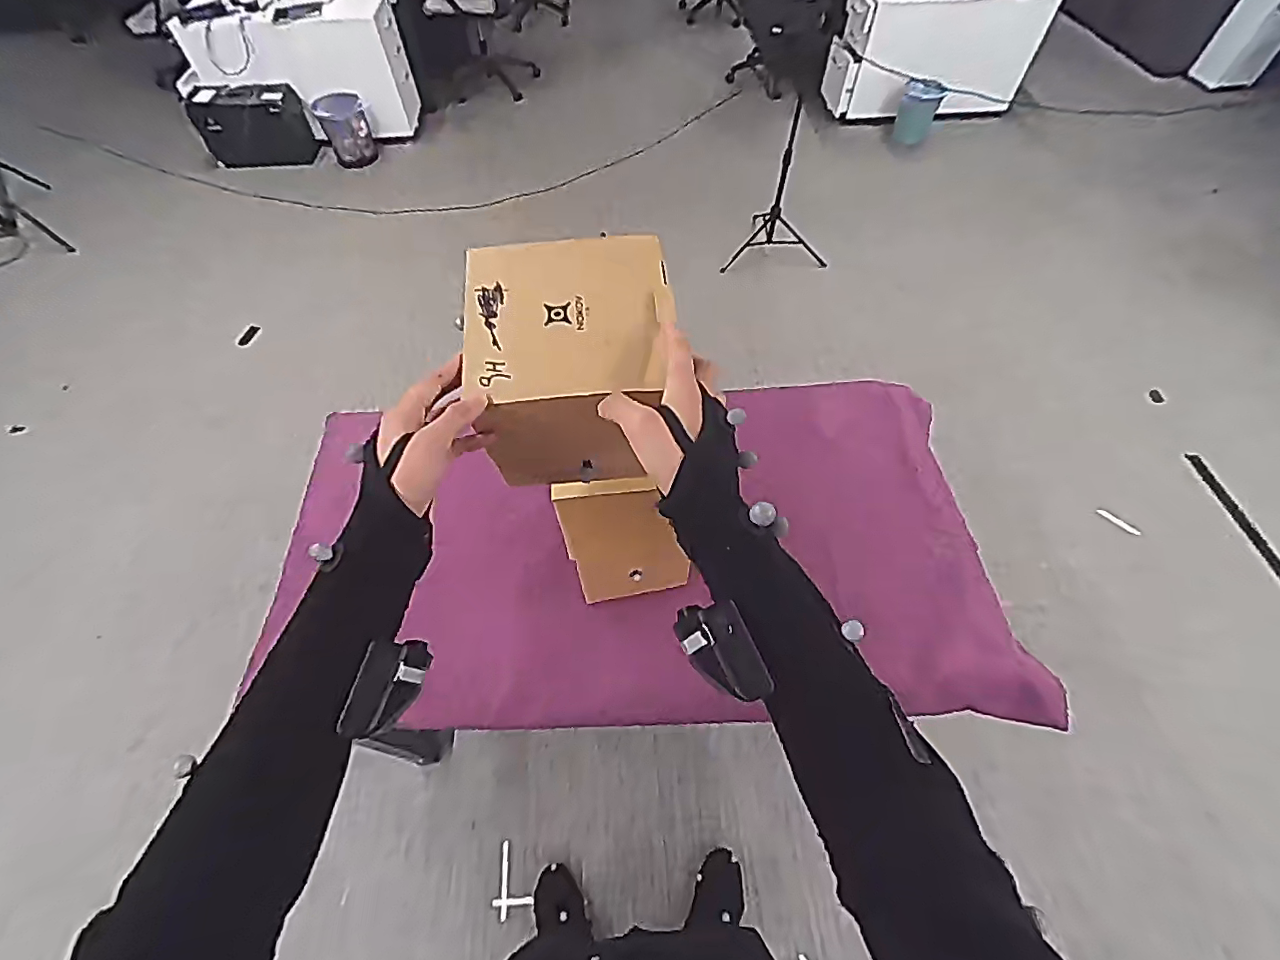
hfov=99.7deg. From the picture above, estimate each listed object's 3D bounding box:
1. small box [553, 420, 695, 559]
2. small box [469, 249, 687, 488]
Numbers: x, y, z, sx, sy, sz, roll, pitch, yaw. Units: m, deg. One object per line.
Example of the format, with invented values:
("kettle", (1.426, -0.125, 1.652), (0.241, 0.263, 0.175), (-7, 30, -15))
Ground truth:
("small box", (-0.024, 0.000, 0.760), (0.179, 0.176, 0.168), (-5, 56, -3))
("small box", (-0.056, -0.100, 0.532), (0.179, 0.176, 0.168), (-4, 66, -3))
